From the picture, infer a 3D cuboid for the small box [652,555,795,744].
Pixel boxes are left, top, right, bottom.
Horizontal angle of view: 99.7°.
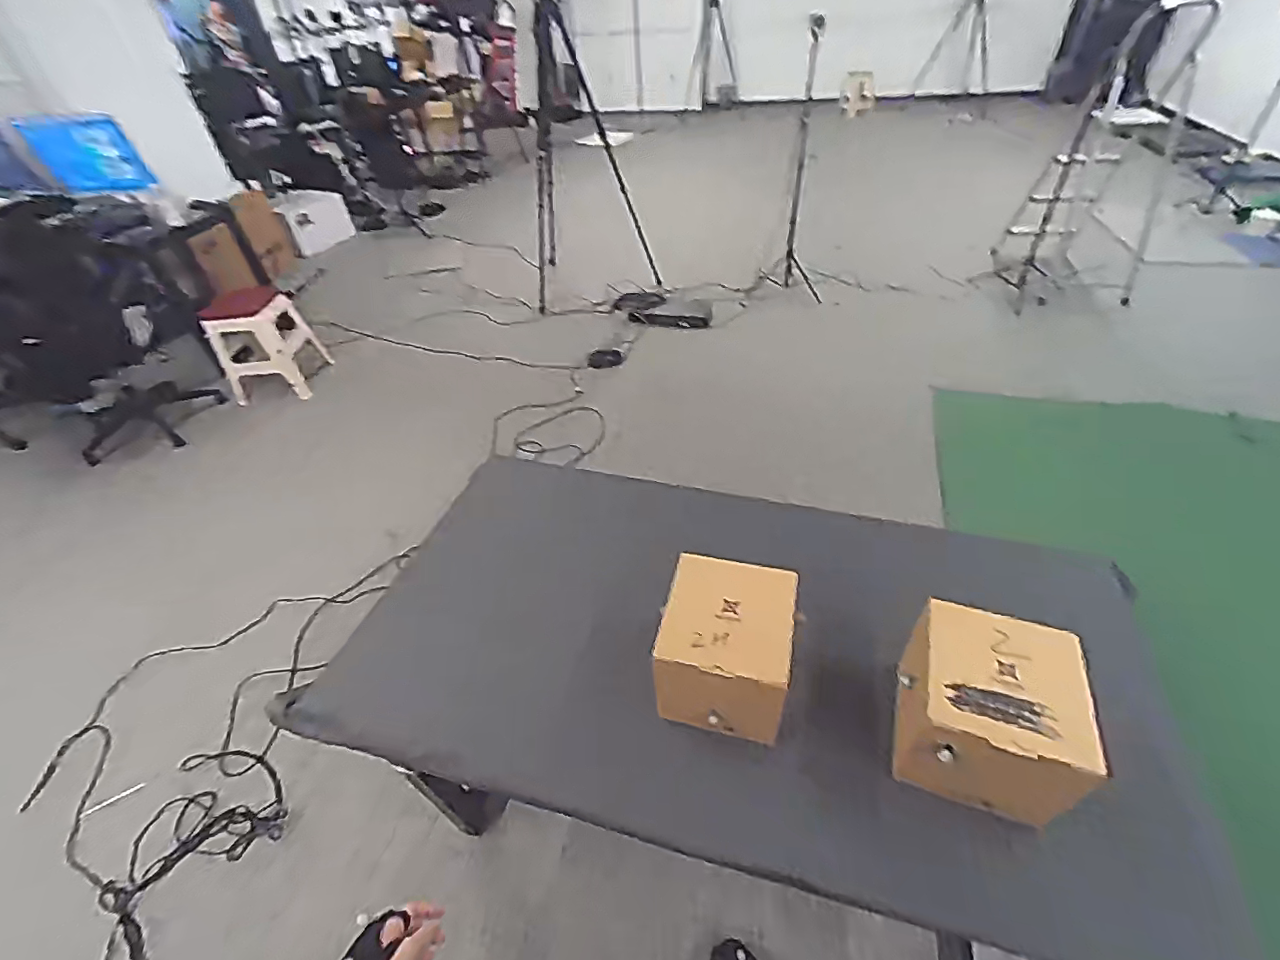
[{"bbox_3d":[0.119,0.237,0.767,0.168,0.176,0.179,8,43,14],"label":"small box"}]
